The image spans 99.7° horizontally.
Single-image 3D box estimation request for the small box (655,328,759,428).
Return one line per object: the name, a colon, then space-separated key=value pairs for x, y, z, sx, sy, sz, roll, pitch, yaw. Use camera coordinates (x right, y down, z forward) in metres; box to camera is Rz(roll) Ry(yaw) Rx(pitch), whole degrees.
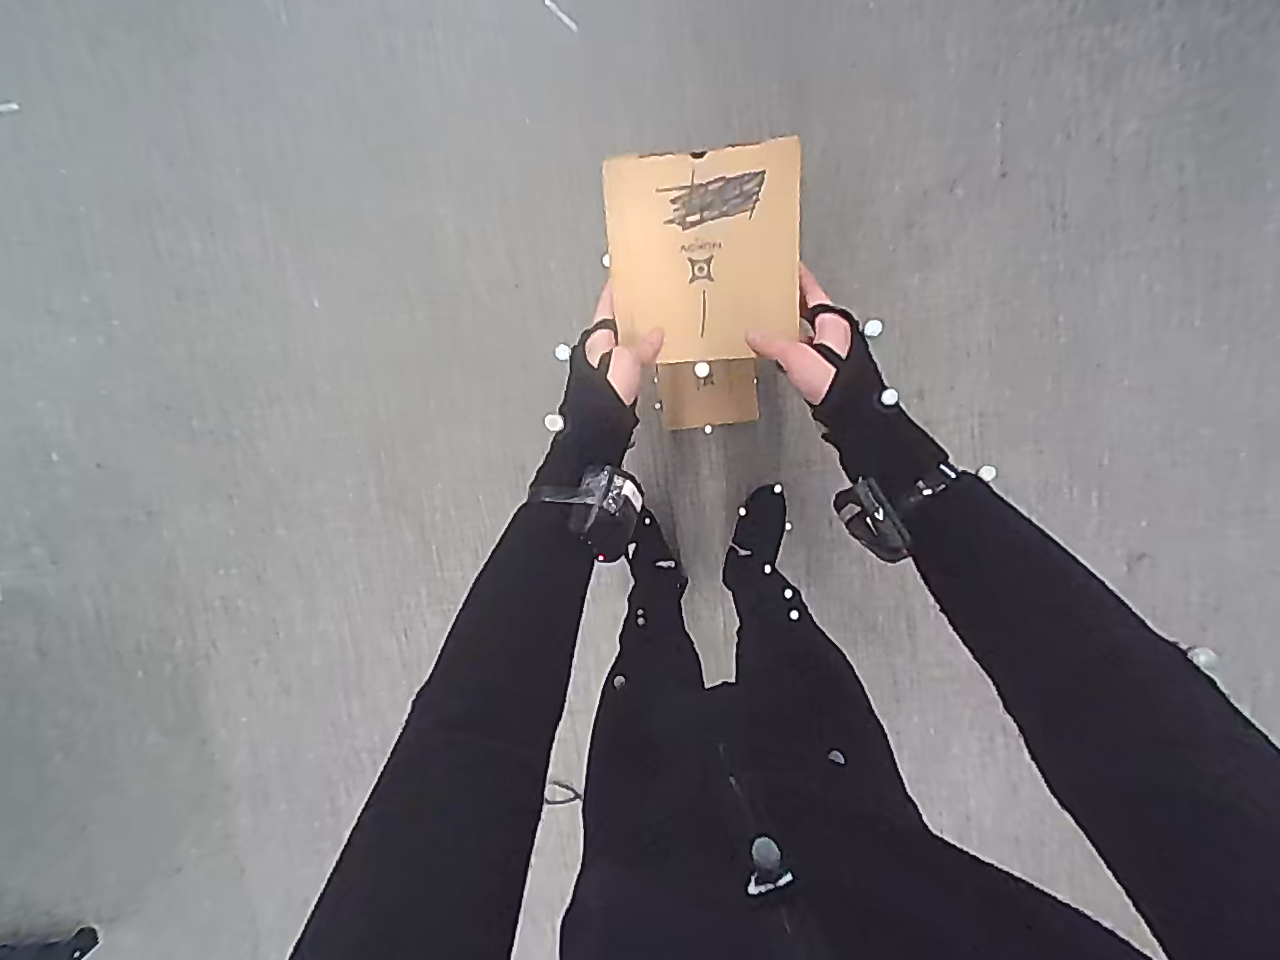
small box: x=0.128 y=-0.192 z=1.055 sx=0.179 sy=0.176 sz=0.168 roll=-6 pitch=98 yaw=5
